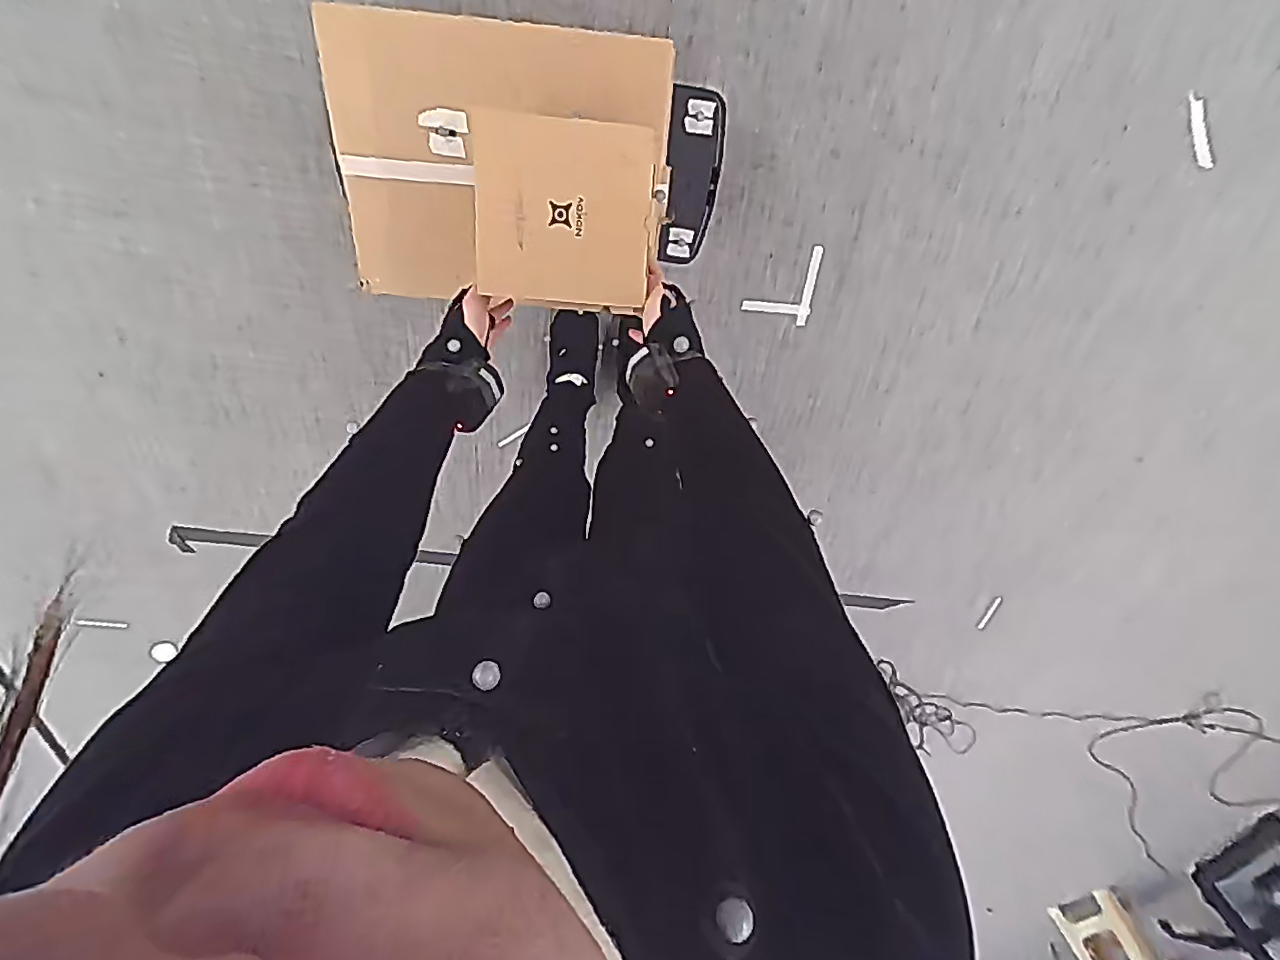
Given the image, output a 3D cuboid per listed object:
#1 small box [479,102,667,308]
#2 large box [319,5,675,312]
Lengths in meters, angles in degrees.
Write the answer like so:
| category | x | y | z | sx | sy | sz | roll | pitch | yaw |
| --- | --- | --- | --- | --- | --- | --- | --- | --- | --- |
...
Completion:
| category | x | y | z | sx | sy | sz | roll | pitch | yaw |
| --- | --- | --- | --- | --- | --- | --- | --- | --- | --- |
| small box | -0.071 | -0.287 | 0.597 | 0.179 | 0.176 | 0.168 | 4 | 109 | -3 |
| large box | -0.165 | -0.457 | 0.802 | 0.408 | 0.320 | 0.320 | 4 | 121 | -2 |
